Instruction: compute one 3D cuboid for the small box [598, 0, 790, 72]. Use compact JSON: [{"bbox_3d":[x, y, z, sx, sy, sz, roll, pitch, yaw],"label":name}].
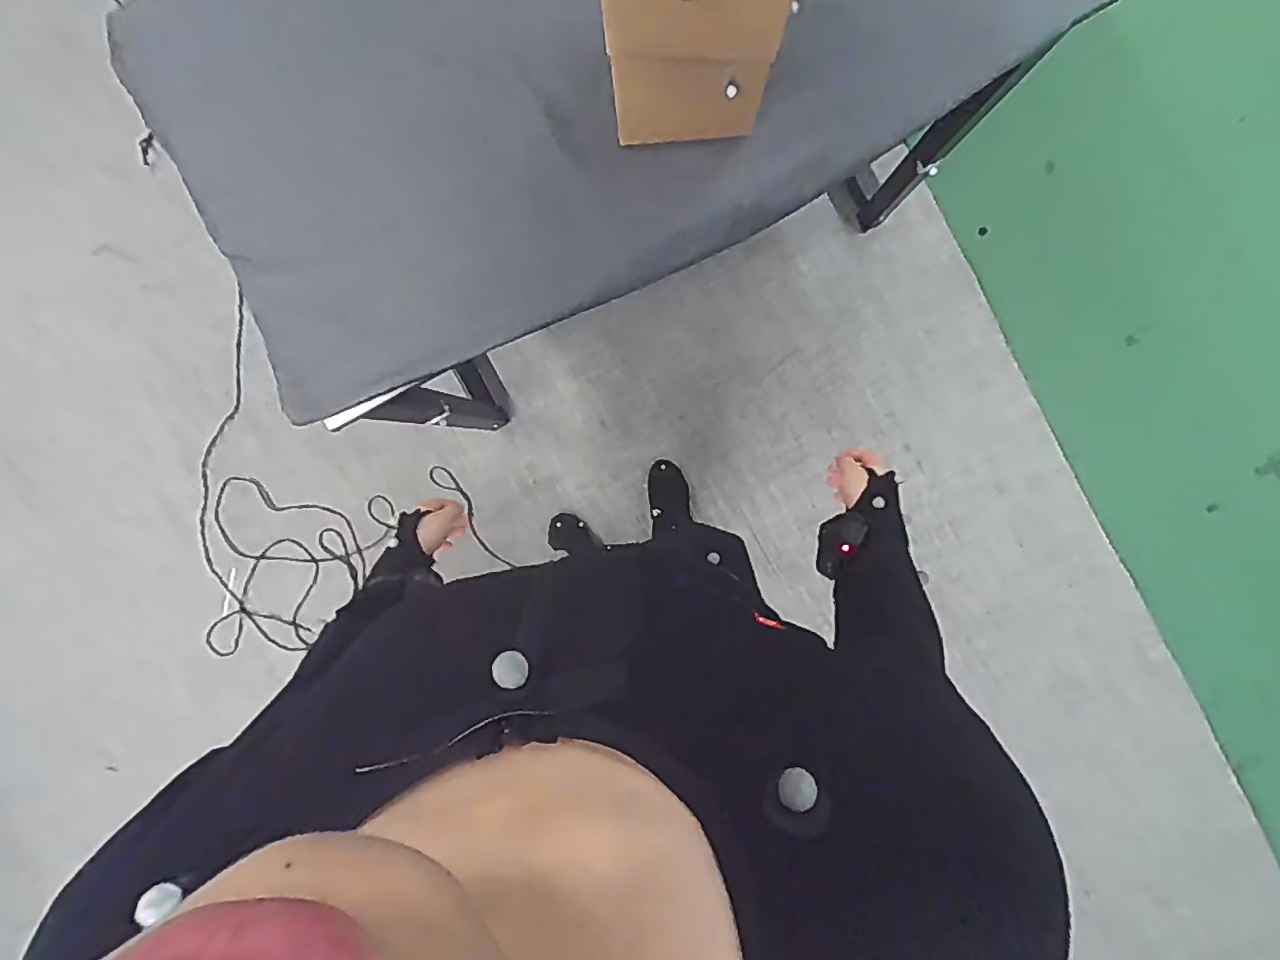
[{"bbox_3d":[0.054,-0.500,0.476,0.179,0.176,0.168,4,92,2],"label":"small box"}]
